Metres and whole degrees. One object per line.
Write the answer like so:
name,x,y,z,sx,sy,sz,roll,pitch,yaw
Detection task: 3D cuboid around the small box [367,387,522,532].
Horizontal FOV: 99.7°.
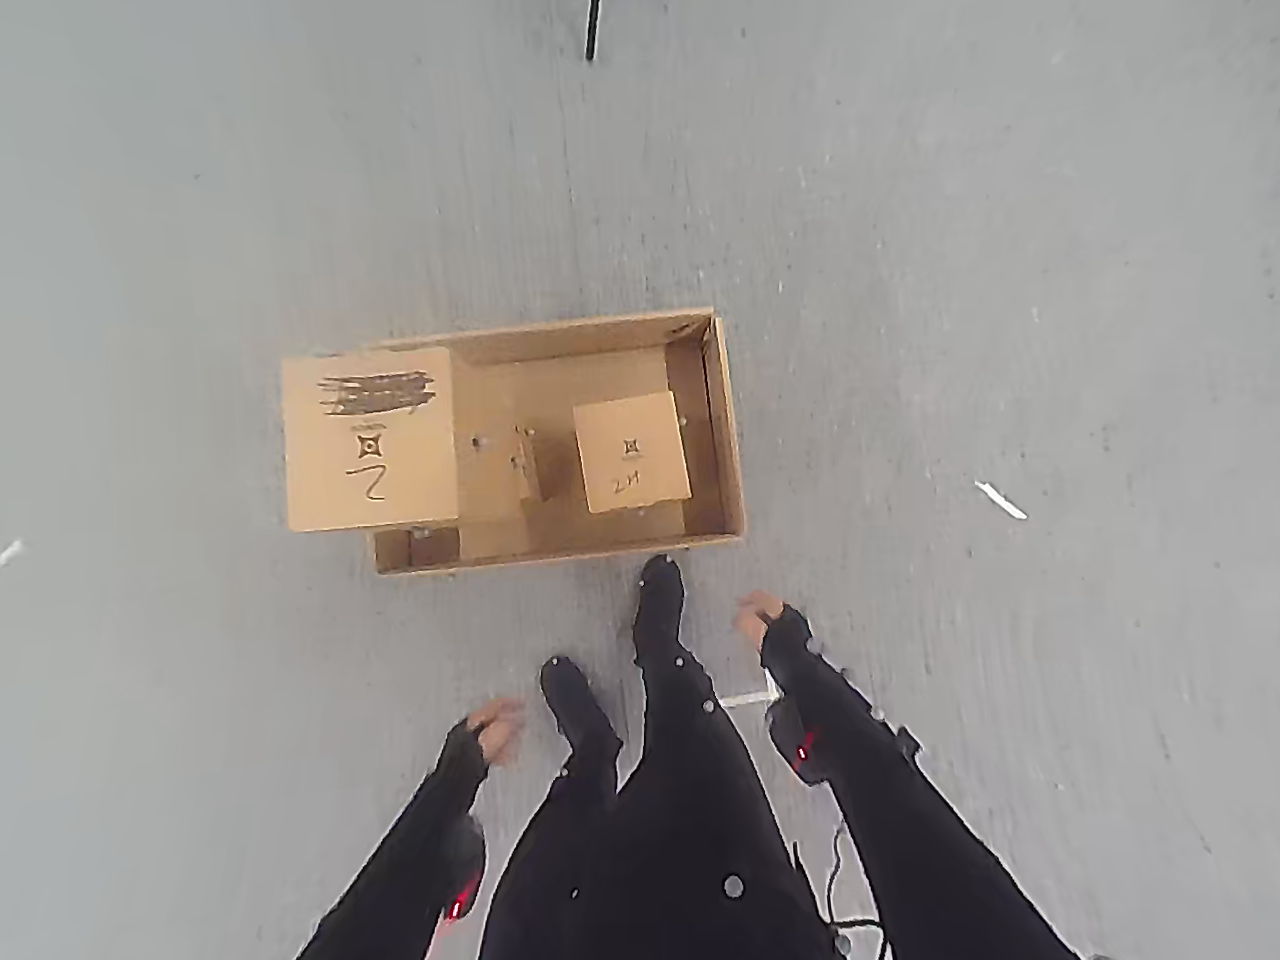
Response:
small box,-0.270,-0.021,0.776,0.168,0.176,0.179,-5,84,-2
